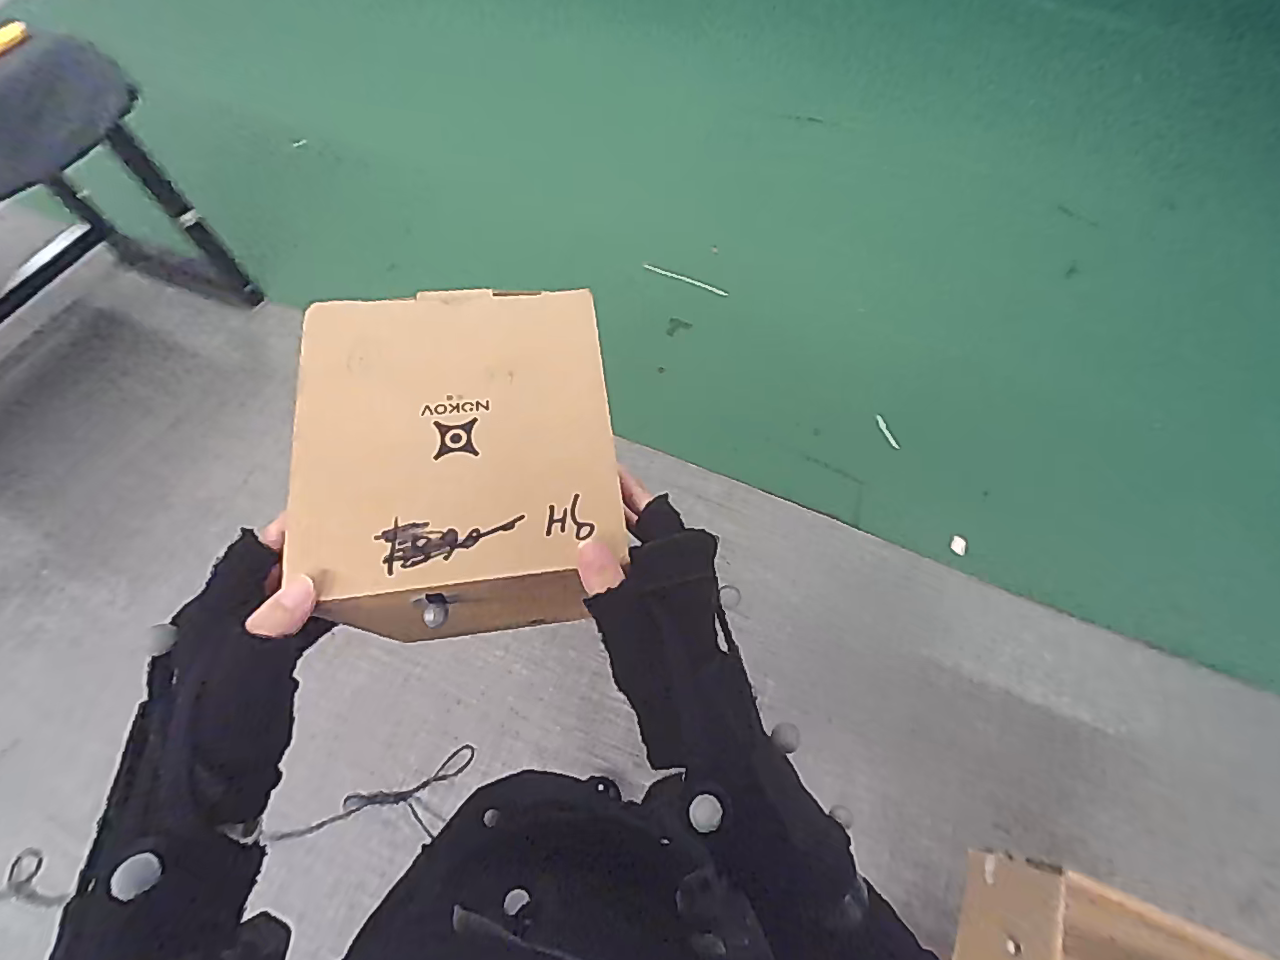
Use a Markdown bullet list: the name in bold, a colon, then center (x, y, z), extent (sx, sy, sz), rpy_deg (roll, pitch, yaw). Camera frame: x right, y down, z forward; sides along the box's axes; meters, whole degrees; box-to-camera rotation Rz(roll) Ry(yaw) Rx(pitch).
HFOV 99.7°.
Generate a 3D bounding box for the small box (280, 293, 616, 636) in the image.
- **small box**: center (-0.112, -0.001, 0.375), extent (0.168, 0.176, 0.179), rpy_deg (-7, 68, -7)
